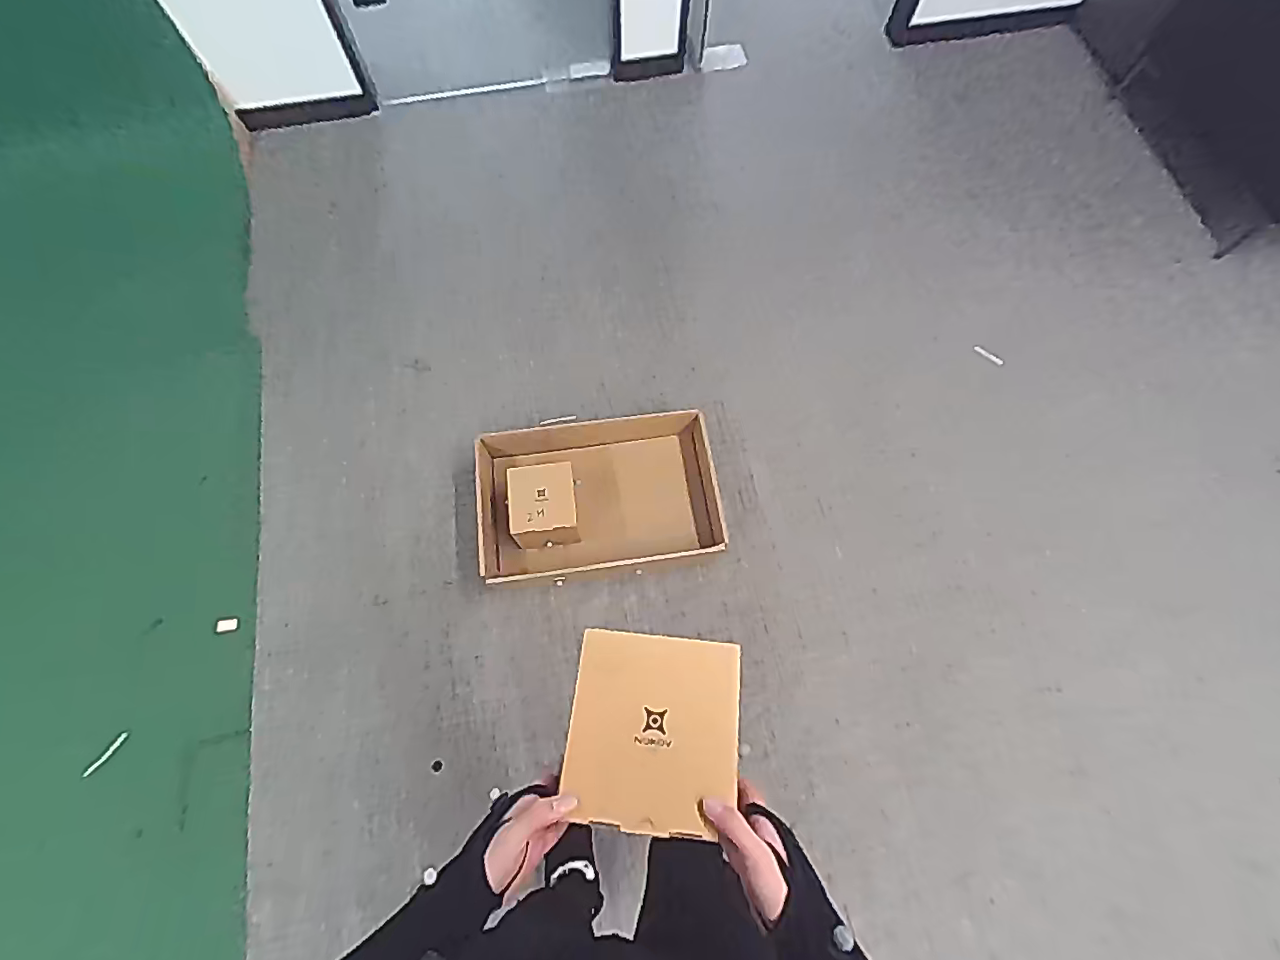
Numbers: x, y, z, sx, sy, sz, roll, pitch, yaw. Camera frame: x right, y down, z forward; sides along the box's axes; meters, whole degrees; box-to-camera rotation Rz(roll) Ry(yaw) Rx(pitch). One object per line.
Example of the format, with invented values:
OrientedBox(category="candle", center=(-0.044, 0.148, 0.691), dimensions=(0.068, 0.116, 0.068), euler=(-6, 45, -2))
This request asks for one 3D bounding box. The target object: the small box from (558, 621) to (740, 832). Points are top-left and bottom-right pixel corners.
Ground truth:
OrientedBox(category="small box", center=(0.015, 0.270, 0.595), dimensions=(0.168, 0.176, 0.179), euler=(4, 61, 3))

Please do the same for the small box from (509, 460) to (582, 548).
OrientedBox(category="small box", center=(-0.245, 0.066, 1.419), dimensions=(0.168, 0.176, 0.179), euler=(-7, 69, -3))
